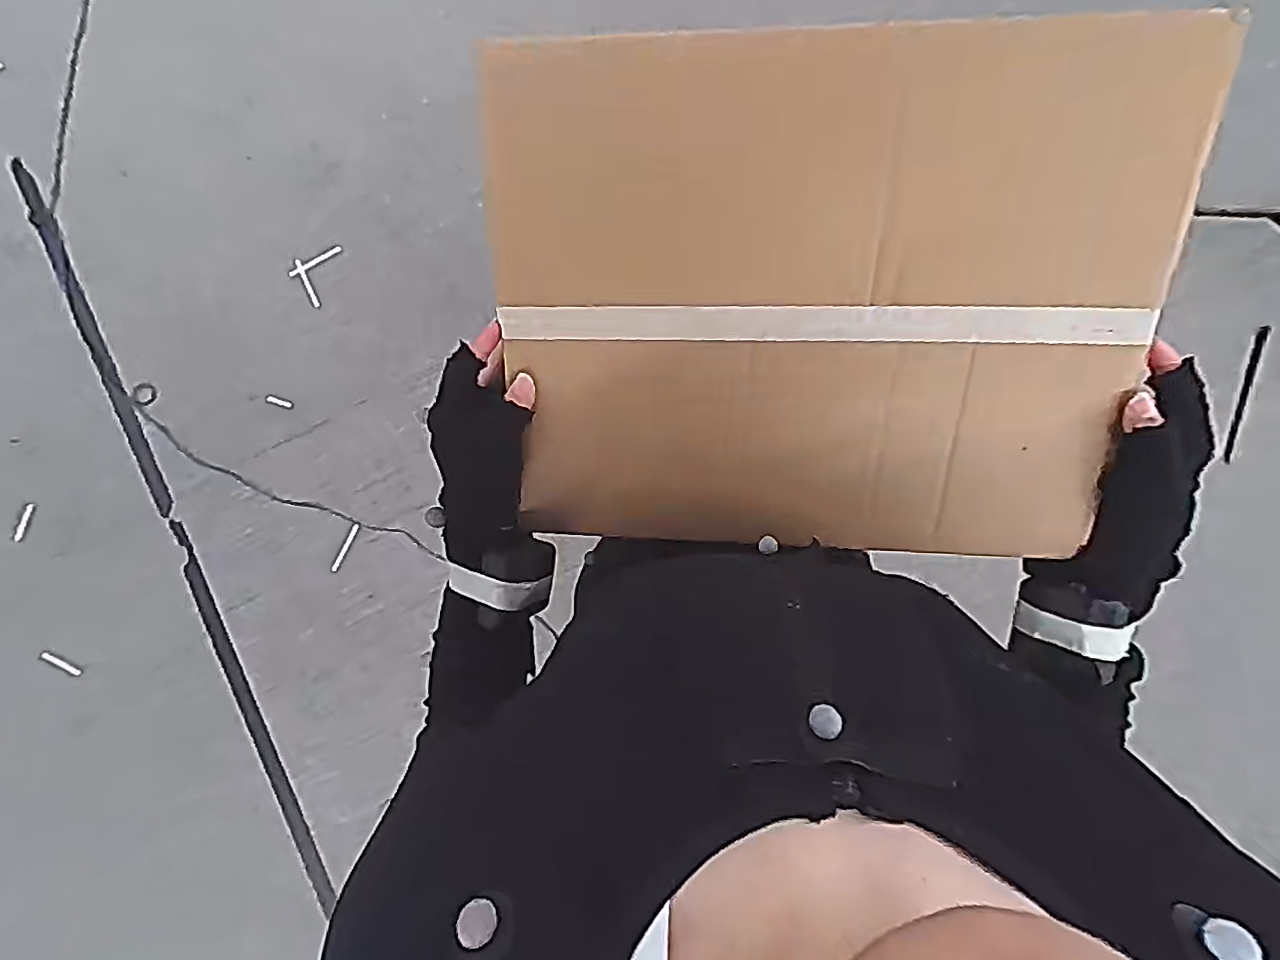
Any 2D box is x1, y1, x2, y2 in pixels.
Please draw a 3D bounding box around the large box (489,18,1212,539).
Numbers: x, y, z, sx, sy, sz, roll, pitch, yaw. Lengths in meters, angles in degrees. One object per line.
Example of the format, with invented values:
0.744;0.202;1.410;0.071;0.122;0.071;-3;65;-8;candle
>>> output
0.120;-0.156;0.493;0.408;0.320;0.320;2;112;5;large box
